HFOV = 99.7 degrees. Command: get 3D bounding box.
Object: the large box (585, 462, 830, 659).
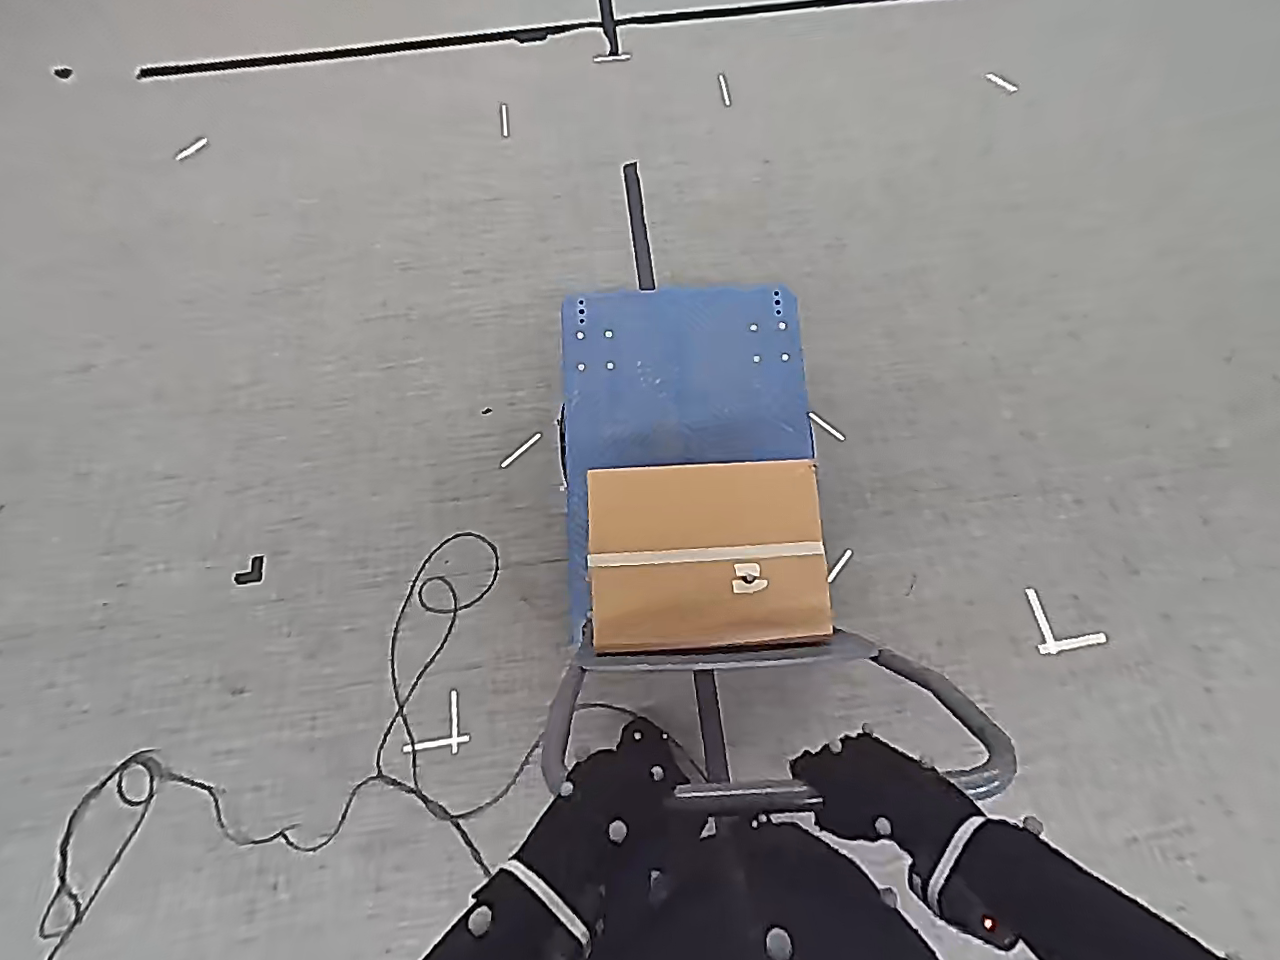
[{"bbox_3d":[0.108,0.157,1.071,0.408,0.320,0.320,-3,82,-2],"label":"large box"}]
